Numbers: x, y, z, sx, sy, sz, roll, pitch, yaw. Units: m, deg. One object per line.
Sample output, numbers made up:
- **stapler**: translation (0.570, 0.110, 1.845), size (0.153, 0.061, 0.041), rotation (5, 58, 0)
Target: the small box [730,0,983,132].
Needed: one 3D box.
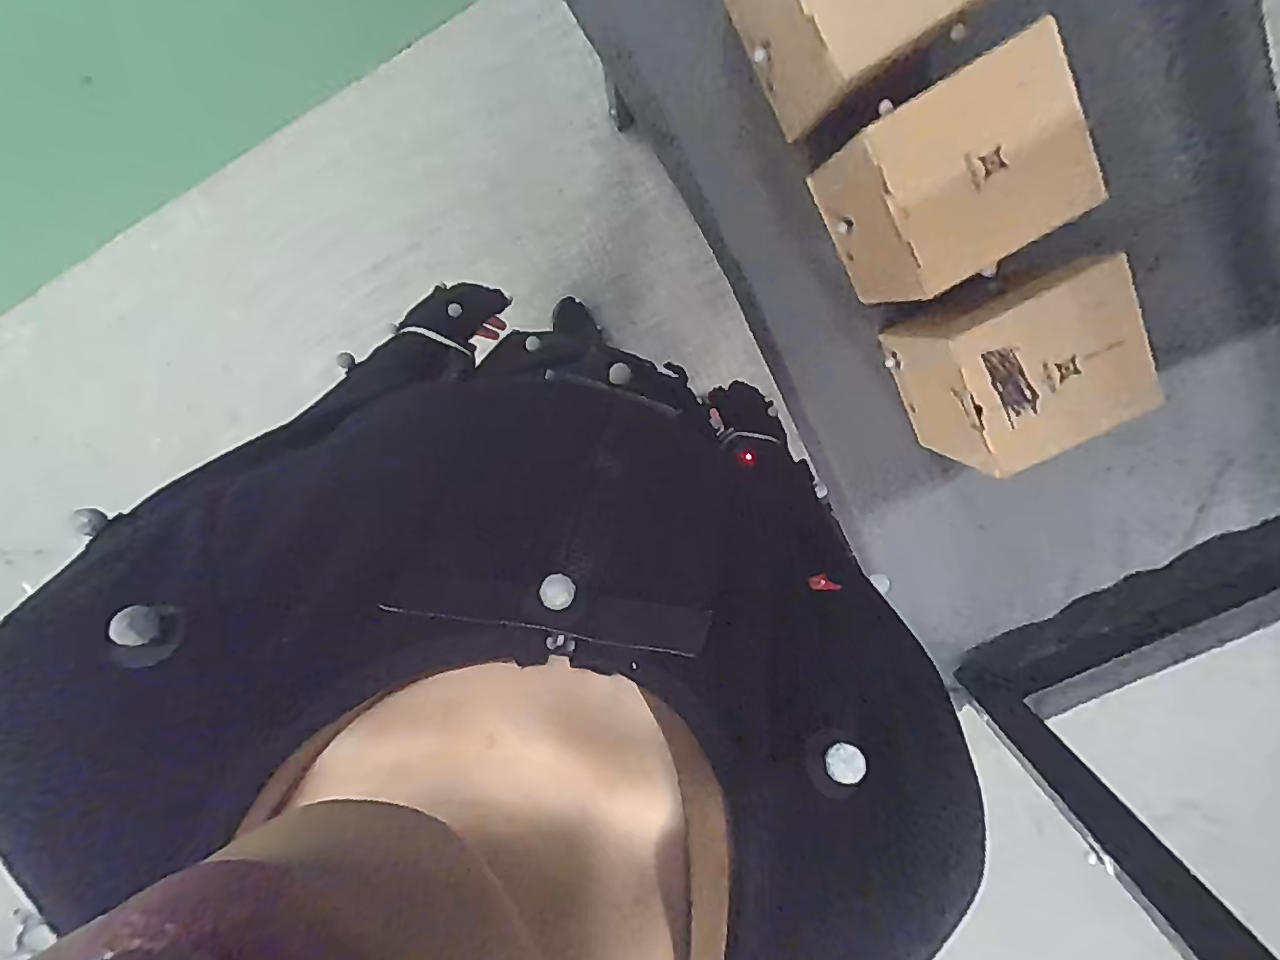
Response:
- **small box**: translation (0.207, -0.479, 0.514), size (0.179, 0.176, 0.168), rotation (-30, 104, 8)
